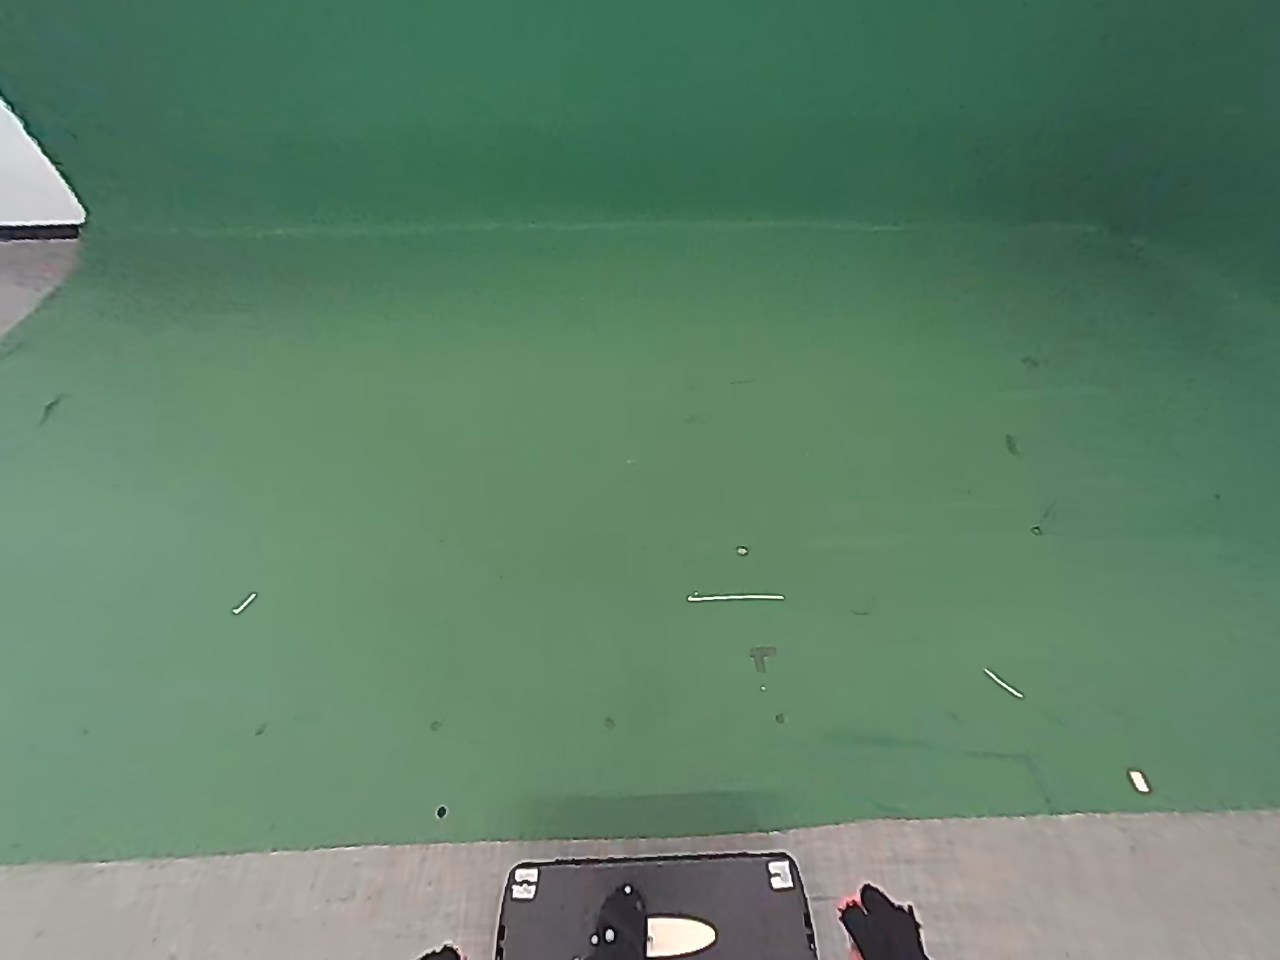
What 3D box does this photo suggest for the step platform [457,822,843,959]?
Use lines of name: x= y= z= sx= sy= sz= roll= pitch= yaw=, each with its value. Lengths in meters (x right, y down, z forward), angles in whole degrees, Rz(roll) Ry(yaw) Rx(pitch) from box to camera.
step platform: x=0.018 y=0.852 z=1.044 sx=0.684 sy=0.204 sz=0.286 roll=-2 pitch=53 yaw=-1
